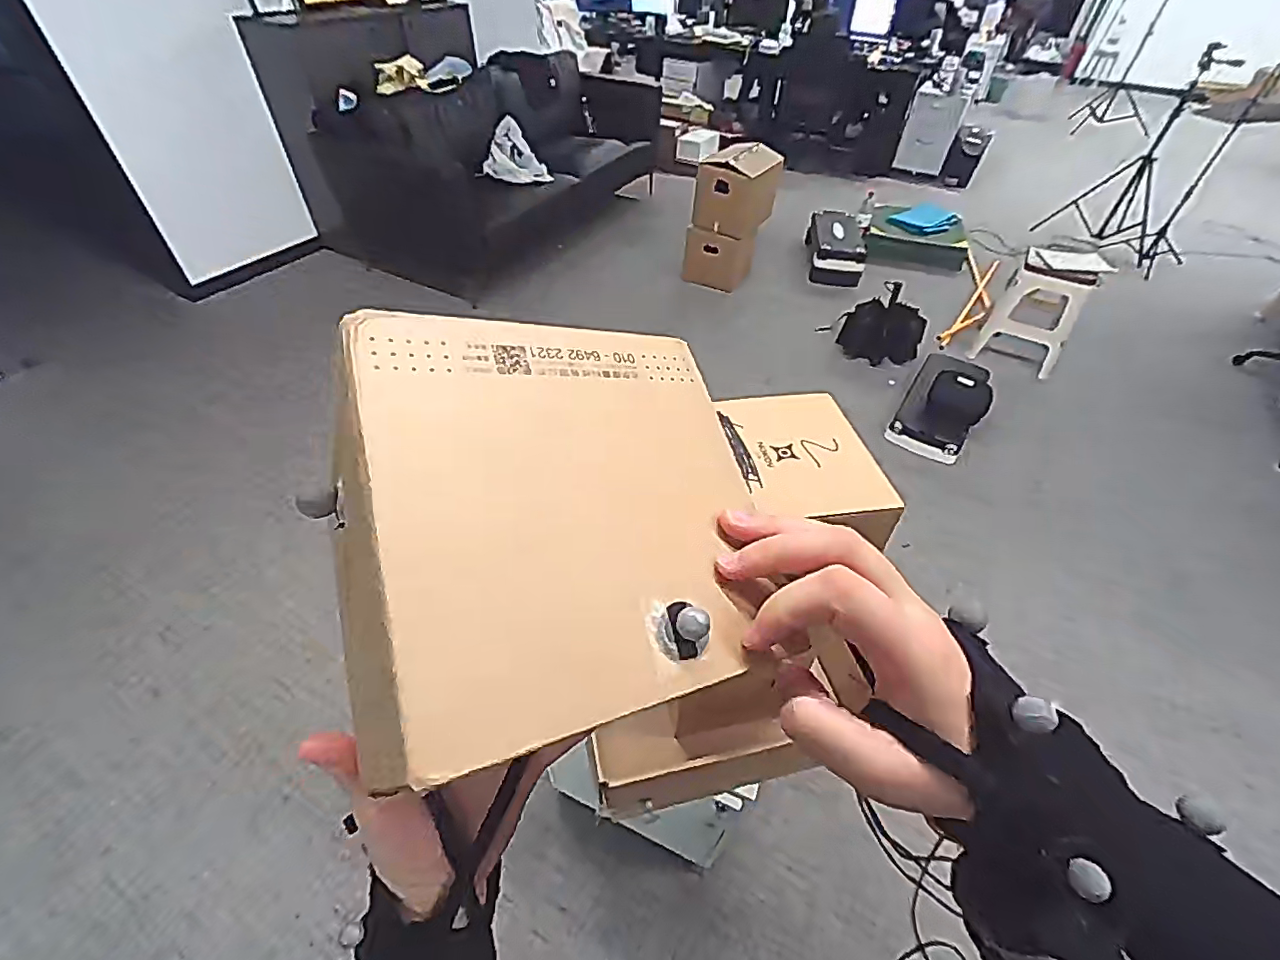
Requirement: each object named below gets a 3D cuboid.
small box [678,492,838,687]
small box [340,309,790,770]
[{"bbox_3d":[0.119,0.140,0.691,0.179,0.176,0.168,-9,45,-8],"label":"small box"},{"bbox_3d":[-0.059,0.038,0.294,0.168,0.179,0.176,-4,66,-34],"label":"small box"}]
